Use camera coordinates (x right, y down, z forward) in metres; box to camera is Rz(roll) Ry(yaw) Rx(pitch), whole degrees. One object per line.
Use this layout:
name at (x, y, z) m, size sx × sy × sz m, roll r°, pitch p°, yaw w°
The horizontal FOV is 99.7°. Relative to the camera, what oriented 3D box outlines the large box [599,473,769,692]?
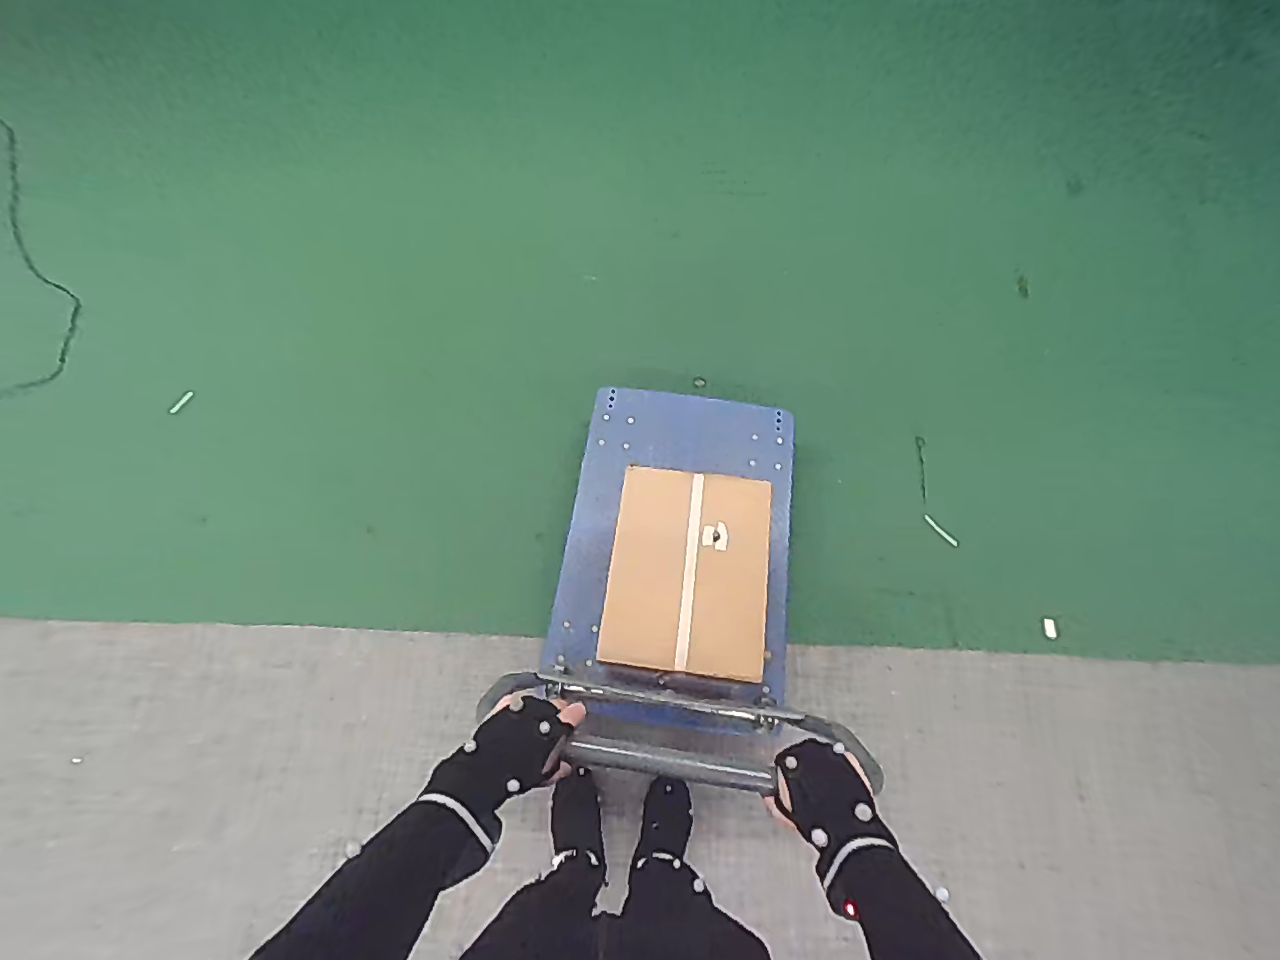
large box at (0.098, 0.242, 1.212) m, size 0.320 × 0.320 × 0.408 m, roll 8°, pitch 67°, yaw 3°
